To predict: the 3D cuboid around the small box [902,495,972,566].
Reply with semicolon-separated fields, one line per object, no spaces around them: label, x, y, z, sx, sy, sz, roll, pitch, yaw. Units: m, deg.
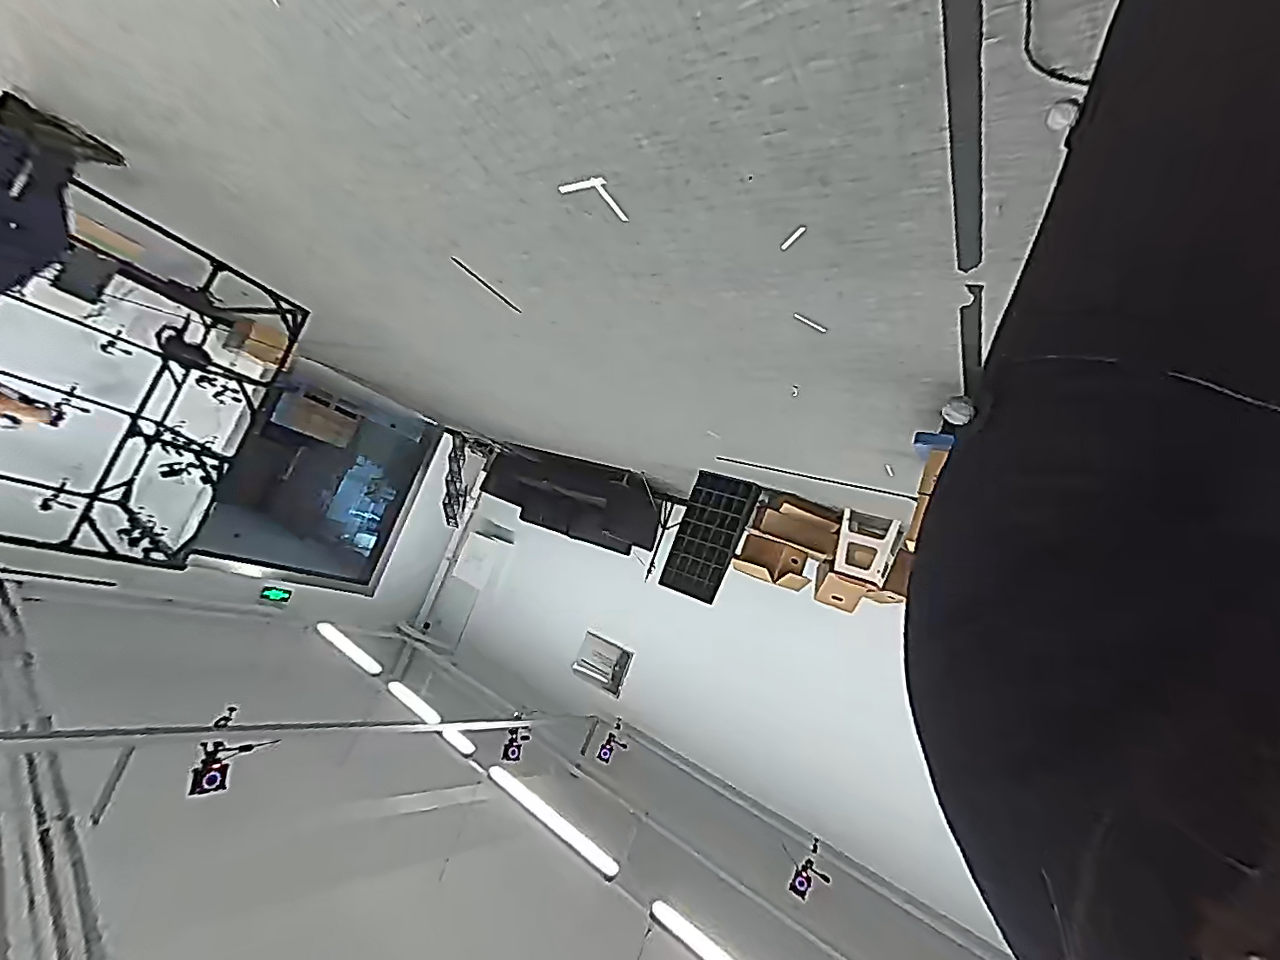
small box;0.991;0.167;1.801;0.168;0.176;0.179;16;170;34
